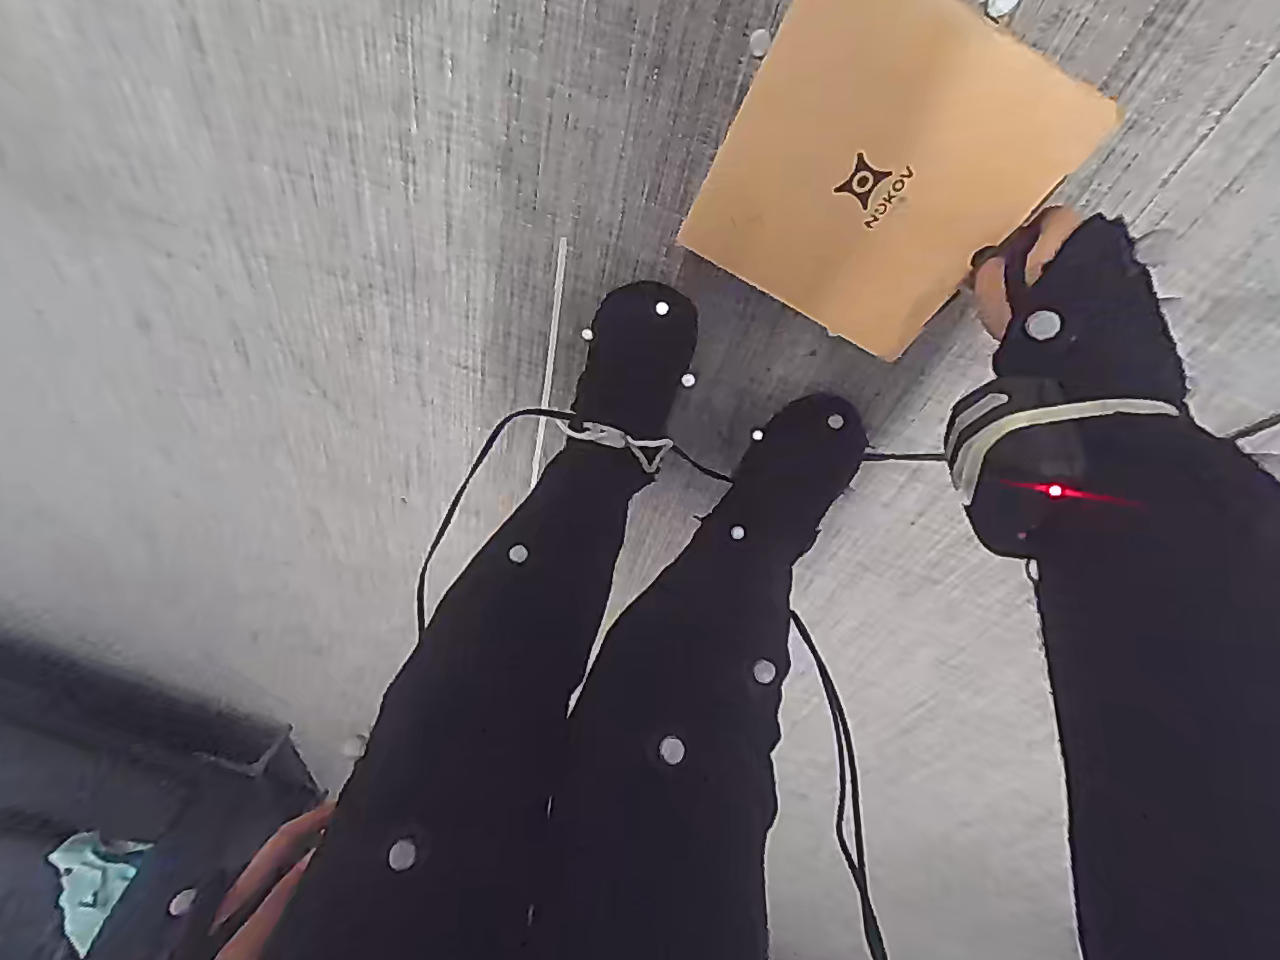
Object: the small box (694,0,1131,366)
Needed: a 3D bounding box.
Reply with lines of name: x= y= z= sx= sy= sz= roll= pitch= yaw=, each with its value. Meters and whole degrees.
small box: x=0.161 y=-0.219 z=0.377 sx=0.179 sy=0.176 sz=0.168 roll=27 pitch=133 yaw=-8
